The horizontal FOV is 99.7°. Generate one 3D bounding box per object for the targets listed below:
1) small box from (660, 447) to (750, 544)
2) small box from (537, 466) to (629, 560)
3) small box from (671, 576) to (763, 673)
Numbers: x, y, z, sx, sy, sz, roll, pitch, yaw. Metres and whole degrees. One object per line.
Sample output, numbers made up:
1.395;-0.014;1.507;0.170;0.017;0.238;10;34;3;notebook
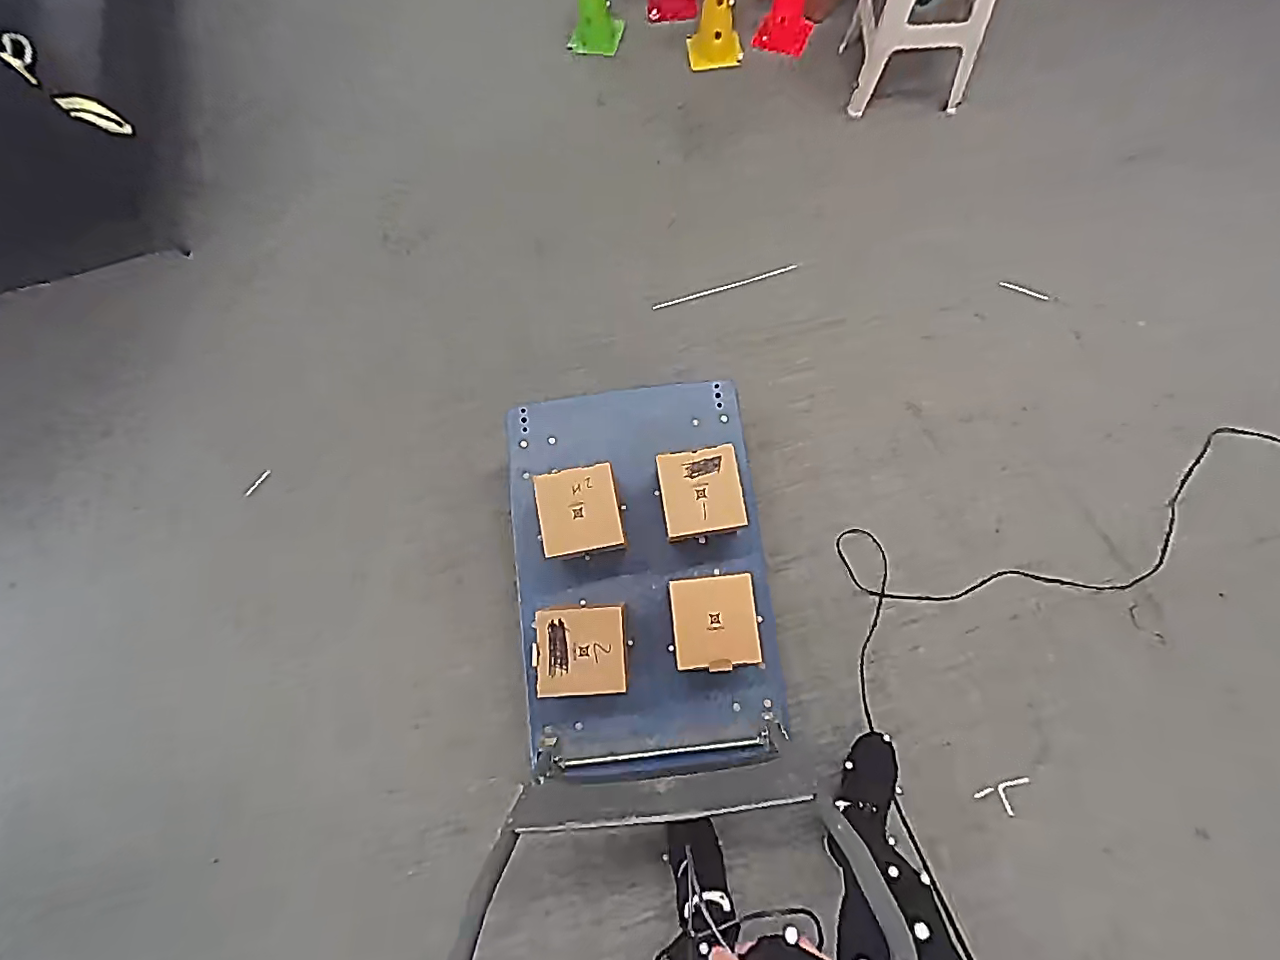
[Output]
0.136;0.040;1.191;0.168;0.176;0.179;-9;80;2;small box
-0.119;0.080;1.195;0.168;0.176;0.179;-10;79;0;small box
0.155;0.299;1.144;0.168;0.176;0.179;-6;80;2;small box
